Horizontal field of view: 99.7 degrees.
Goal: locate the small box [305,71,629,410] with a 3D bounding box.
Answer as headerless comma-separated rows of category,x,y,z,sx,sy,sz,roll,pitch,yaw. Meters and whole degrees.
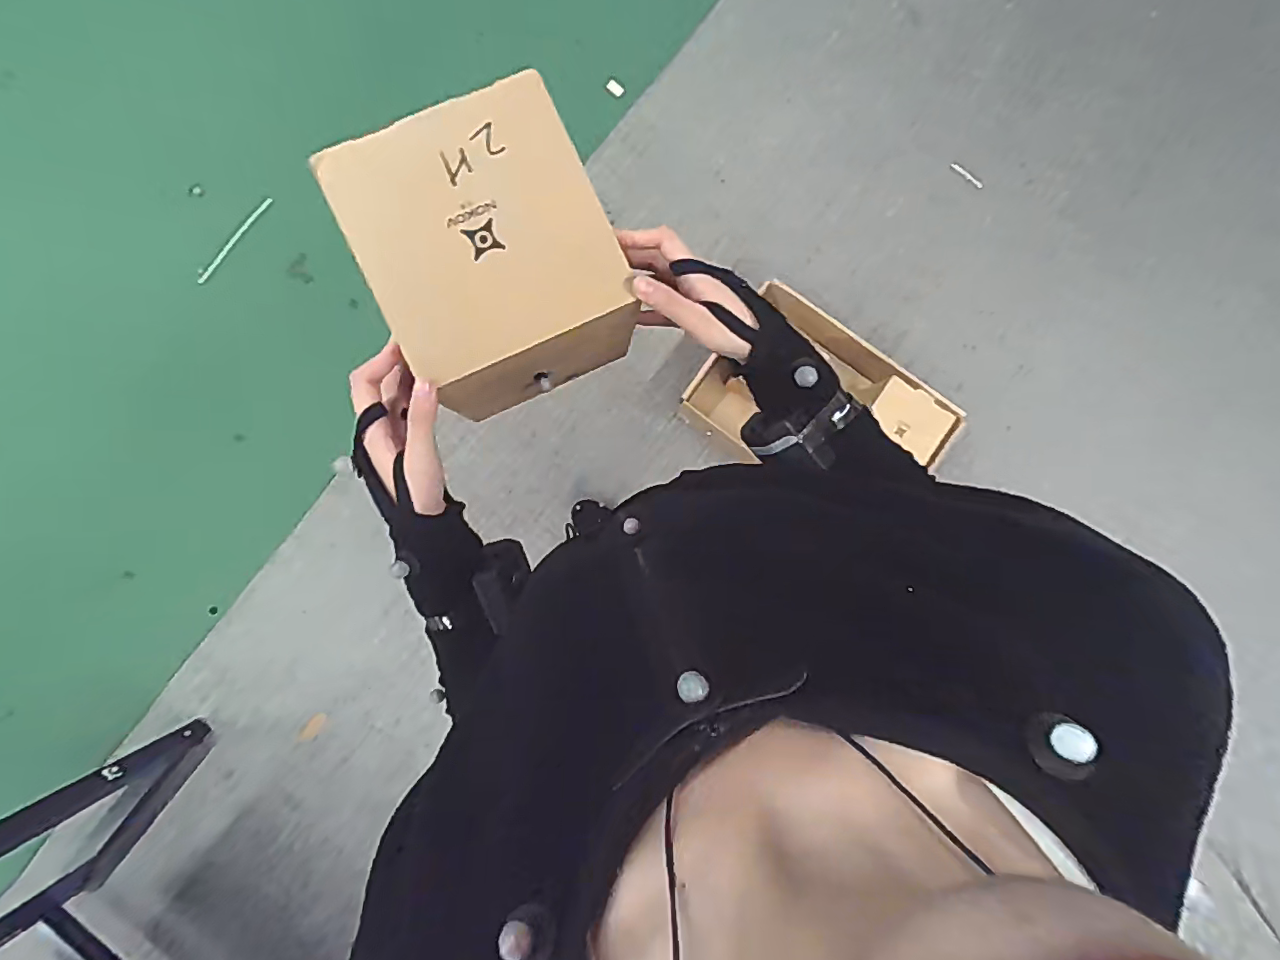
small box,-0.121,-0.169,0.446,0.168,0.176,0.179,-26,91,-5

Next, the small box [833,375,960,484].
small box,0.569,-0.107,1.228,0.168,0.176,0.179,35,89,2

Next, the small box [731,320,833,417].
small box,0.356,-0.278,1.397,0.179,0.176,0.168,33,90,0

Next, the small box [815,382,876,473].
small box,0.580,-0.126,1.392,0.179,0.176,0.168,31,90,2
